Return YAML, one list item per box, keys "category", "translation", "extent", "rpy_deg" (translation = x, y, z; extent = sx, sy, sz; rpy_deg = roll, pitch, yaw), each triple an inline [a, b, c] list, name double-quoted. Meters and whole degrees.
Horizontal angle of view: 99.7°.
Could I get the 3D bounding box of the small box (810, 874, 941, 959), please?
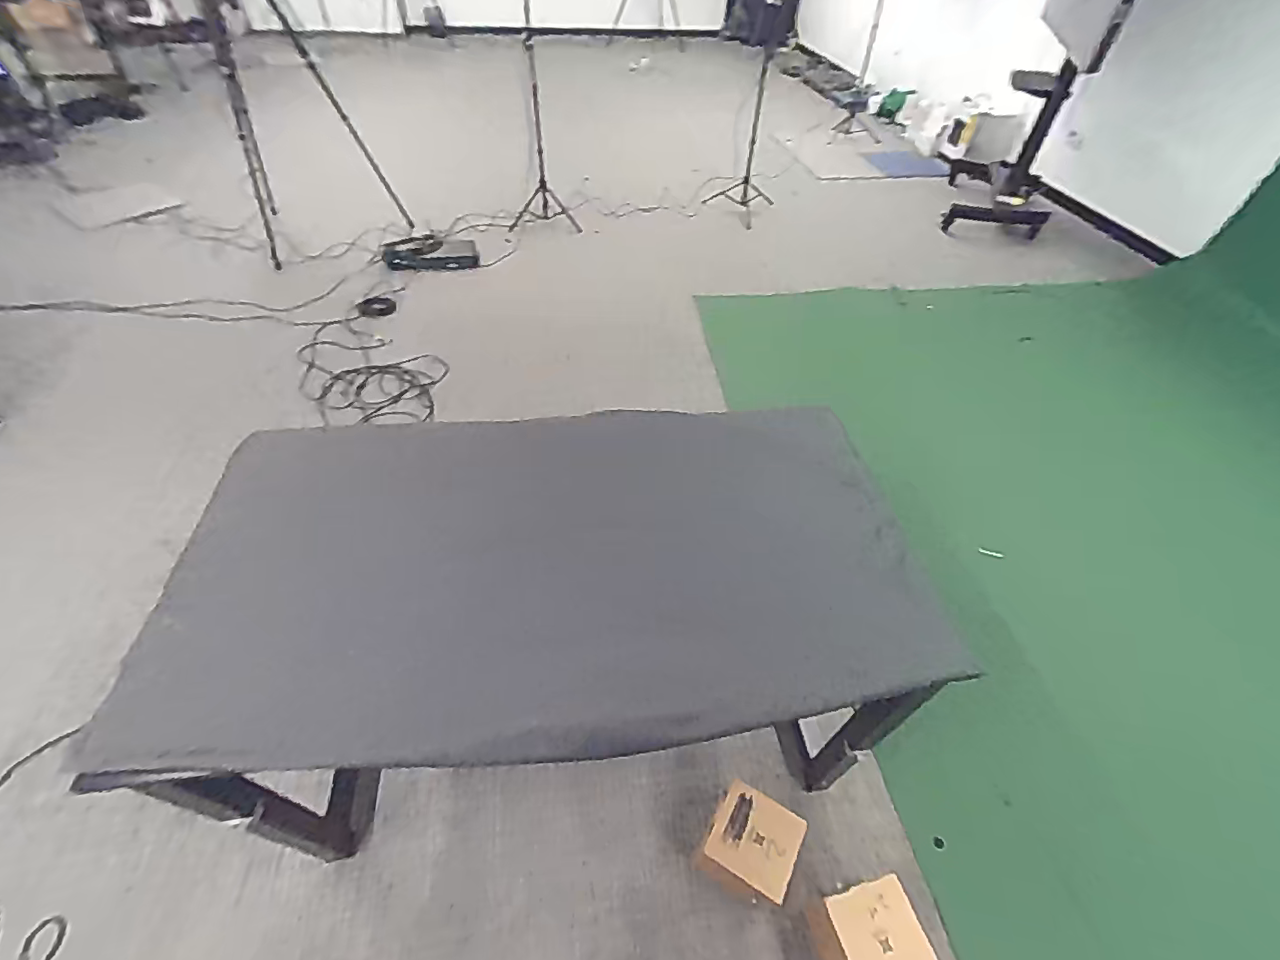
- category: "small box"
  translation: [0.465, 0.920, 1.076]
  extent: [0.168, 0.176, 0.179]
  rpy_deg: [-10, 49, -12]
